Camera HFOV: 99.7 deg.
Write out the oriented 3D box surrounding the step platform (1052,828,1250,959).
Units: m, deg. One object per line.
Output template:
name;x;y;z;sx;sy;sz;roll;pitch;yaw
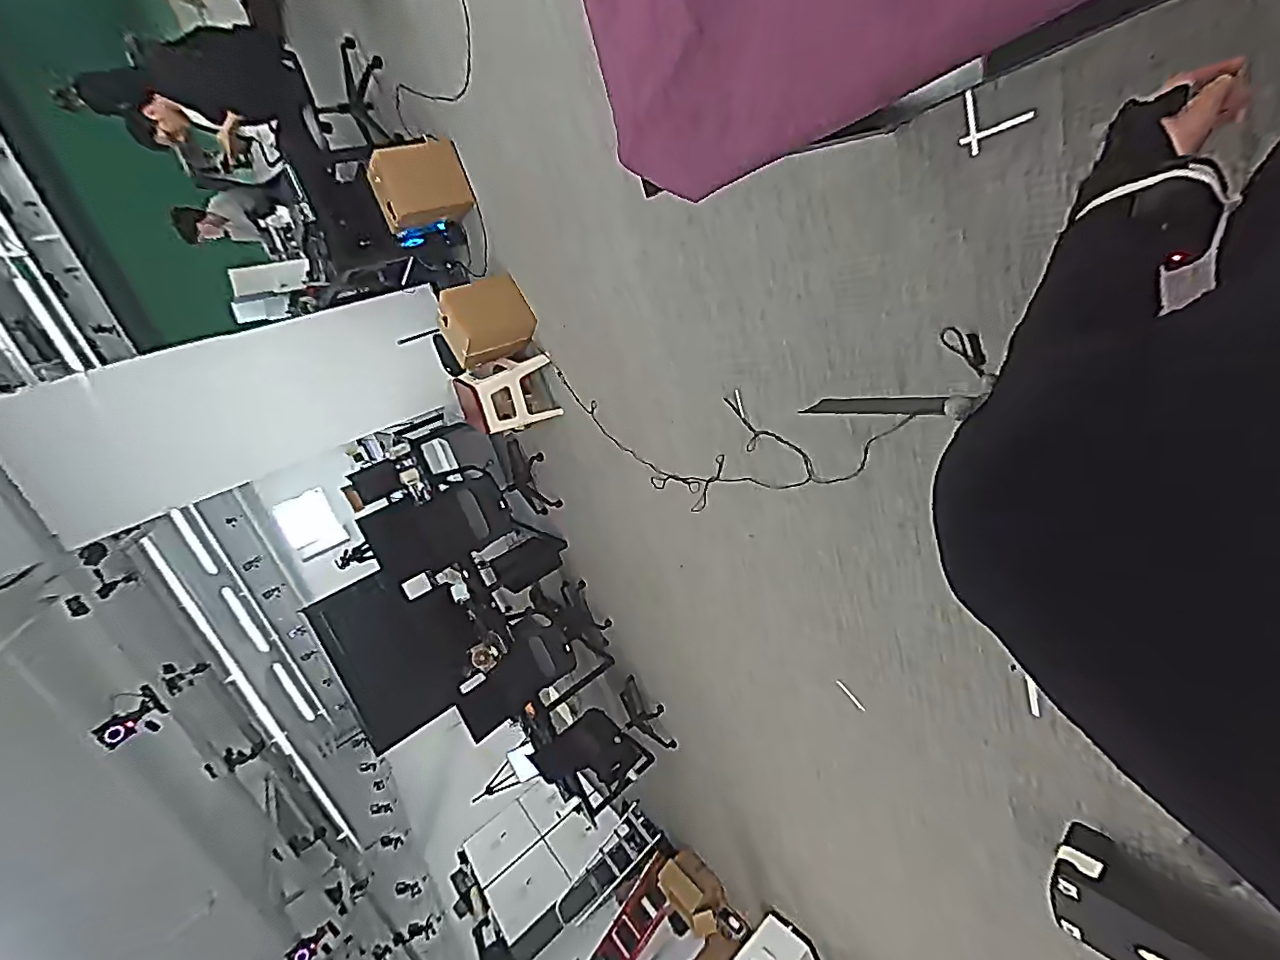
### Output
step platform;1.527;1.284;1.442;0.684;0.204;0.286;9;124;54
